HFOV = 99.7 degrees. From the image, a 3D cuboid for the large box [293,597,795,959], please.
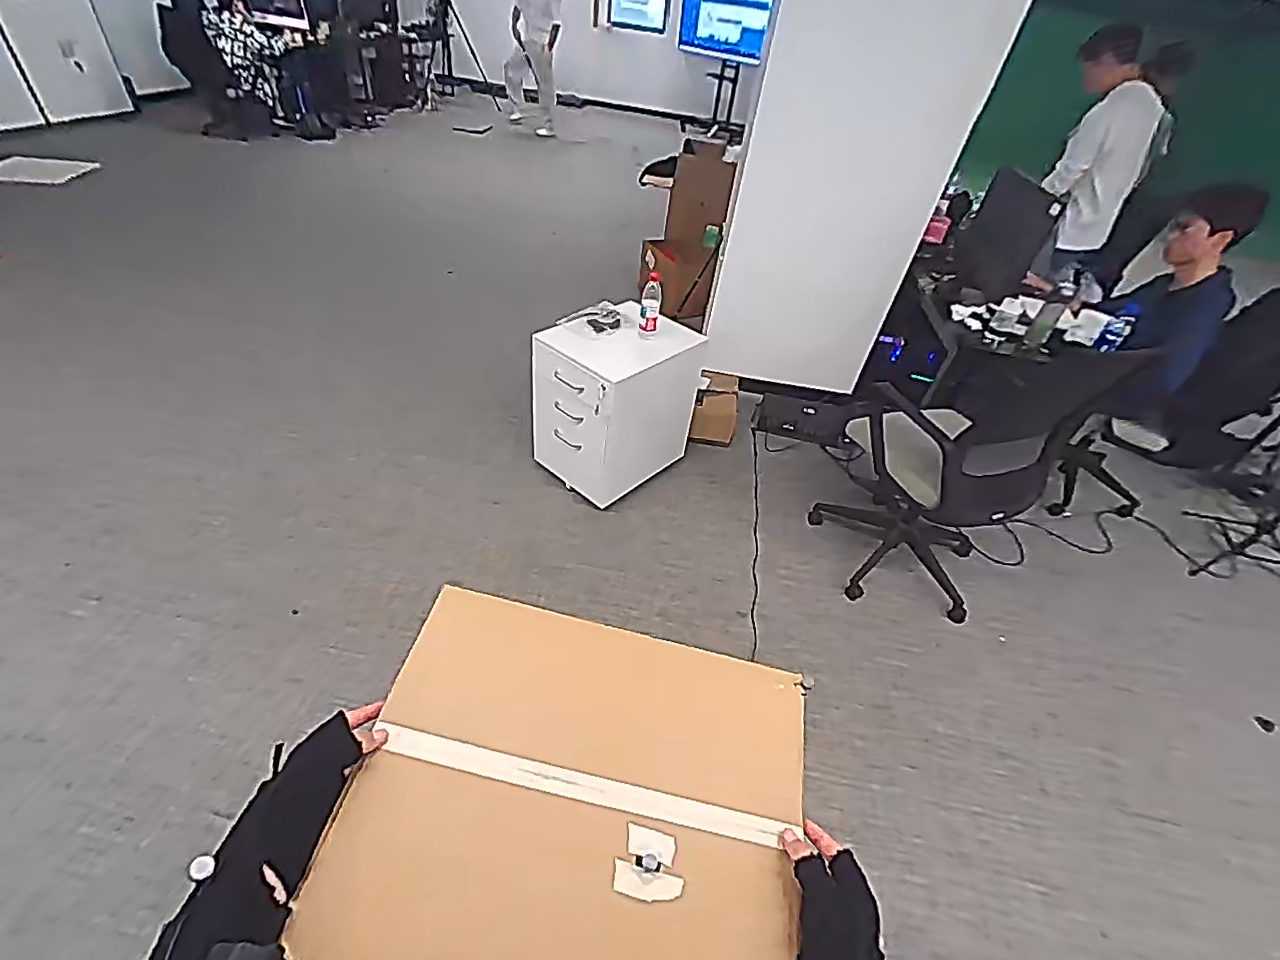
[{"bbox_3d":[-0.073,0.381,0.621,0.408,0.320,0.320,15,51,1],"label":"large box"}]
